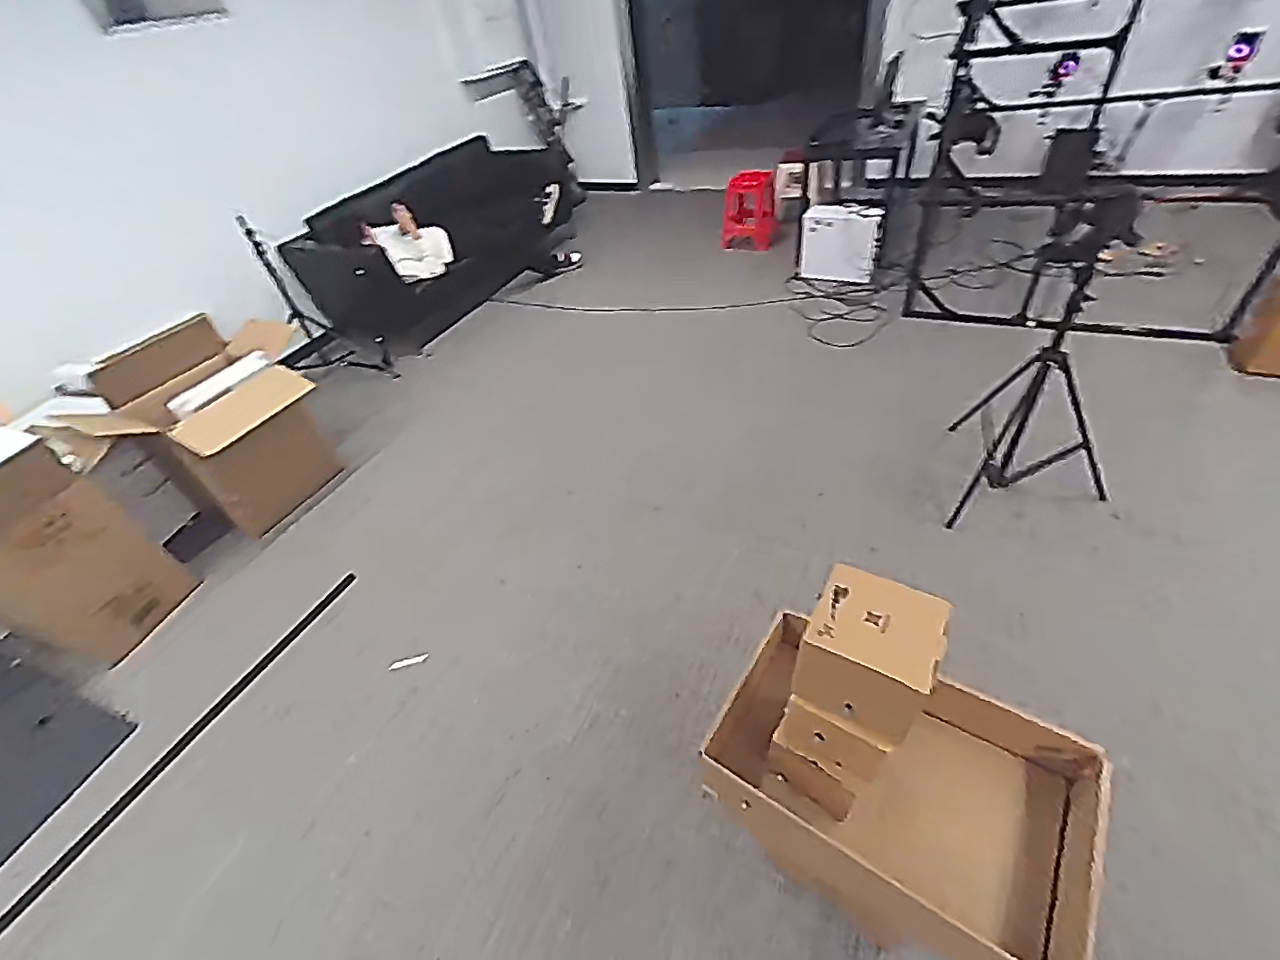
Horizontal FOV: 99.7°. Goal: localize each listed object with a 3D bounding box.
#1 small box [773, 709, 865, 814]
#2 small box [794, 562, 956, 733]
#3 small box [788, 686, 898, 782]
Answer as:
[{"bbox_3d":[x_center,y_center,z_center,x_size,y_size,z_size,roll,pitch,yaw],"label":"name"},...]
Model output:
[{"bbox_3d":[0.374,0.514,1.066,0.168,0.176,0.179,25,51,30],"label":"small box"},{"bbox_3d":[0.361,0.267,0.851,0.179,0.176,0.168,21,49,27],"label":"small box"},{"bbox_3d":[0.372,0.393,0.957,0.168,0.176,0.179,22,50,28],"label":"small box"}]
